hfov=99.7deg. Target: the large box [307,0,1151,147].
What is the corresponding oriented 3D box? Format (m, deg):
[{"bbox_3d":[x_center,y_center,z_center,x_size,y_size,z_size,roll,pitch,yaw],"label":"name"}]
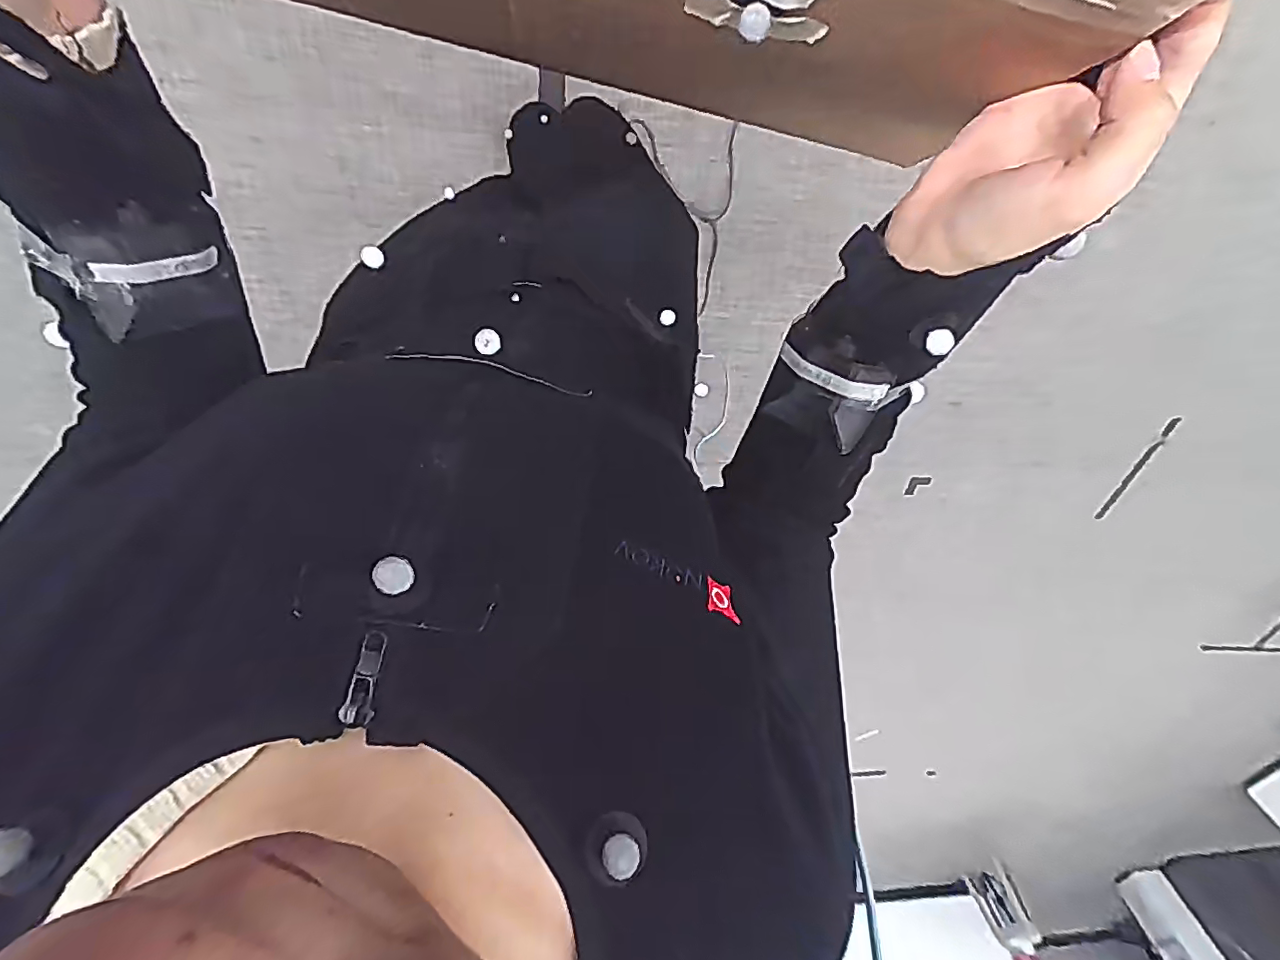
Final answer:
[{"bbox_3d":[0.012,-0.344,0.128,0.408,0.320,0.320,8,103,-9],"label":"large box"}]
